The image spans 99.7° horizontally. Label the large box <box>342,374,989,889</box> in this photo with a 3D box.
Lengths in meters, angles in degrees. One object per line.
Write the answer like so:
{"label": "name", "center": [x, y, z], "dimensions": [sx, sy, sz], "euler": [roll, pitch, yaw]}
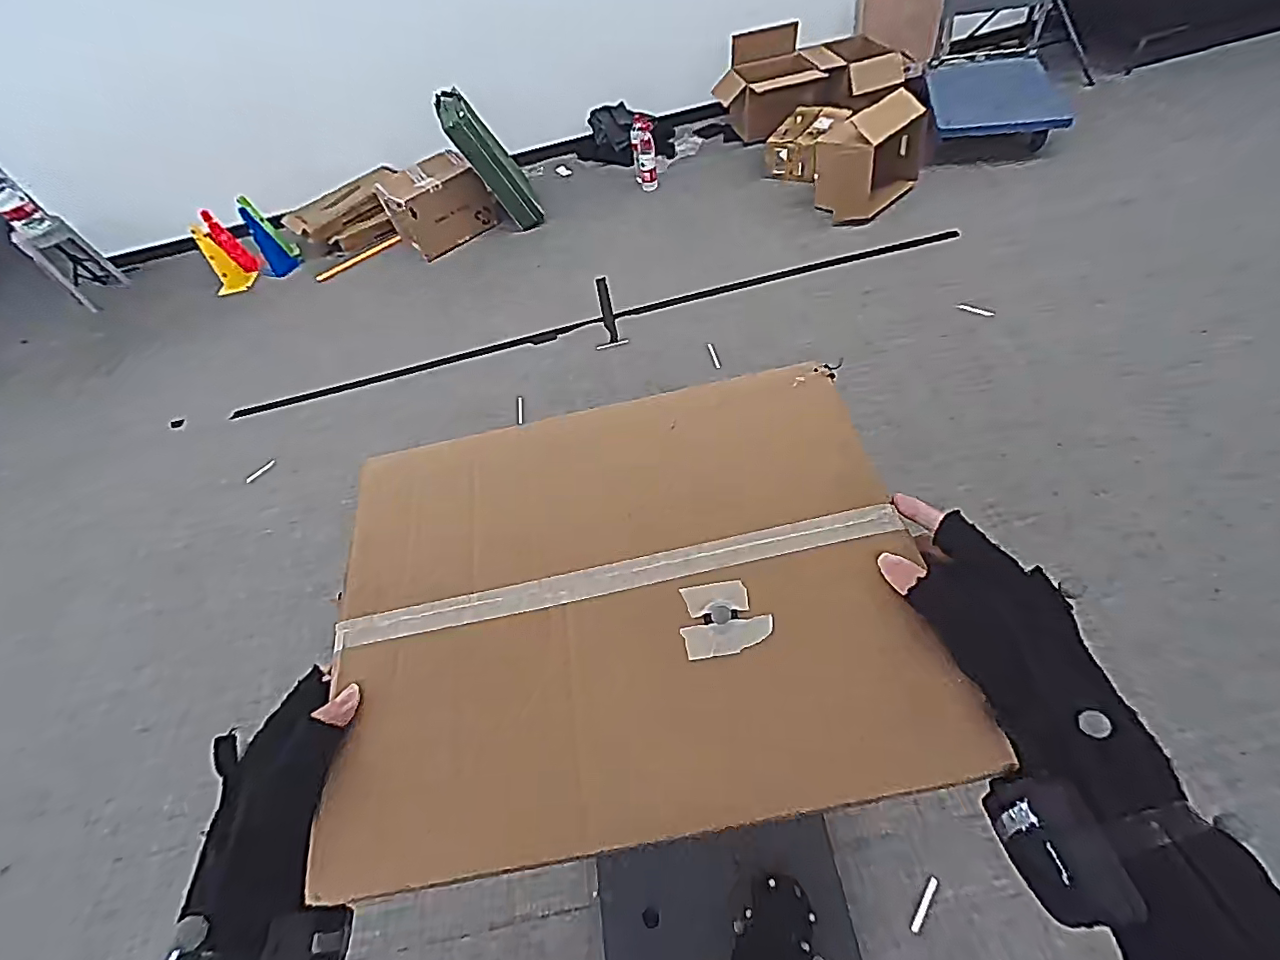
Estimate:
{"label": "large box", "center": [0.006, 0.153, 0.523], "dimensions": [0.408, 0.320, 0.320], "euler": [-12, 58, 1]}
